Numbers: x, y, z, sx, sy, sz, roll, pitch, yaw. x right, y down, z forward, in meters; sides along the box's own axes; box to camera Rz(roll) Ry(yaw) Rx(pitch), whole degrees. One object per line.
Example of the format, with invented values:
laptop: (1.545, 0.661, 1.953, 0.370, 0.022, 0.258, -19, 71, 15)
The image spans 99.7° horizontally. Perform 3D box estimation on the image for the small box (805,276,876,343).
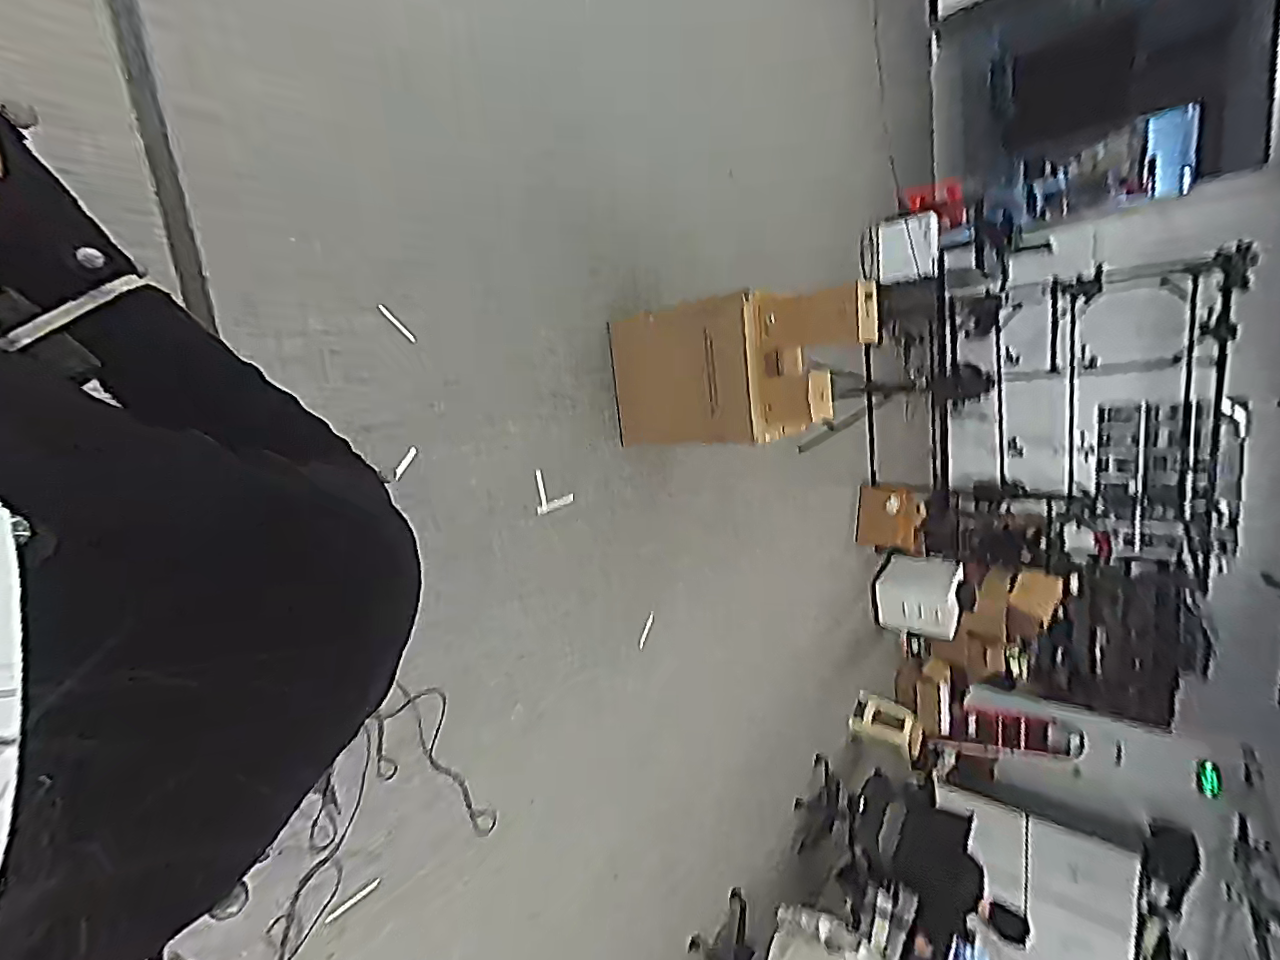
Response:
small box: (0.637, -0.540, 1.725, 0.168, 0.176, 0.179, -19, 106, -46)

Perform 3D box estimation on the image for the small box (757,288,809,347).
small box: (0.517, -0.549, 1.837, 0.179, 0.176, 0.168, -18, 105, -45)

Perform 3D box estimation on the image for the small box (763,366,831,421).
small box: (0.545, -0.300, 1.877, 0.179, 0.176, 0.168, -17, 103, -46)
